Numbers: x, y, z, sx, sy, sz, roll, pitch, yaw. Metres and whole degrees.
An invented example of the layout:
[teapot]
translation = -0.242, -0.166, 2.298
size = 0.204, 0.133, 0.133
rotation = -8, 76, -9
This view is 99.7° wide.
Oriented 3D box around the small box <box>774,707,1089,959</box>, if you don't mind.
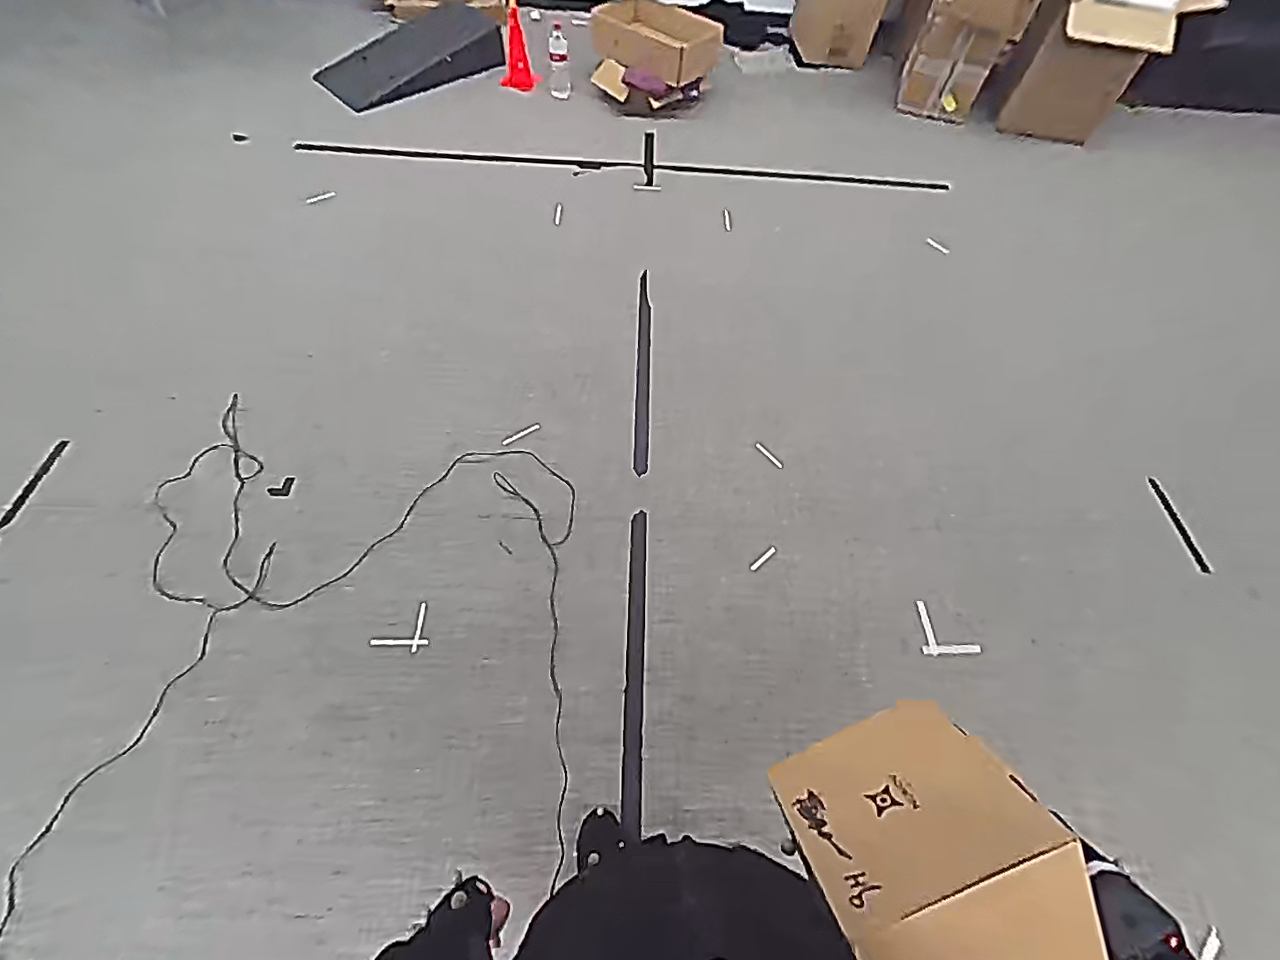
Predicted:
[small box]
translation = 0.247, 0.347, 0.476
size = 0.179, 0.168, 0.176
rotation = -23, 102, -2
